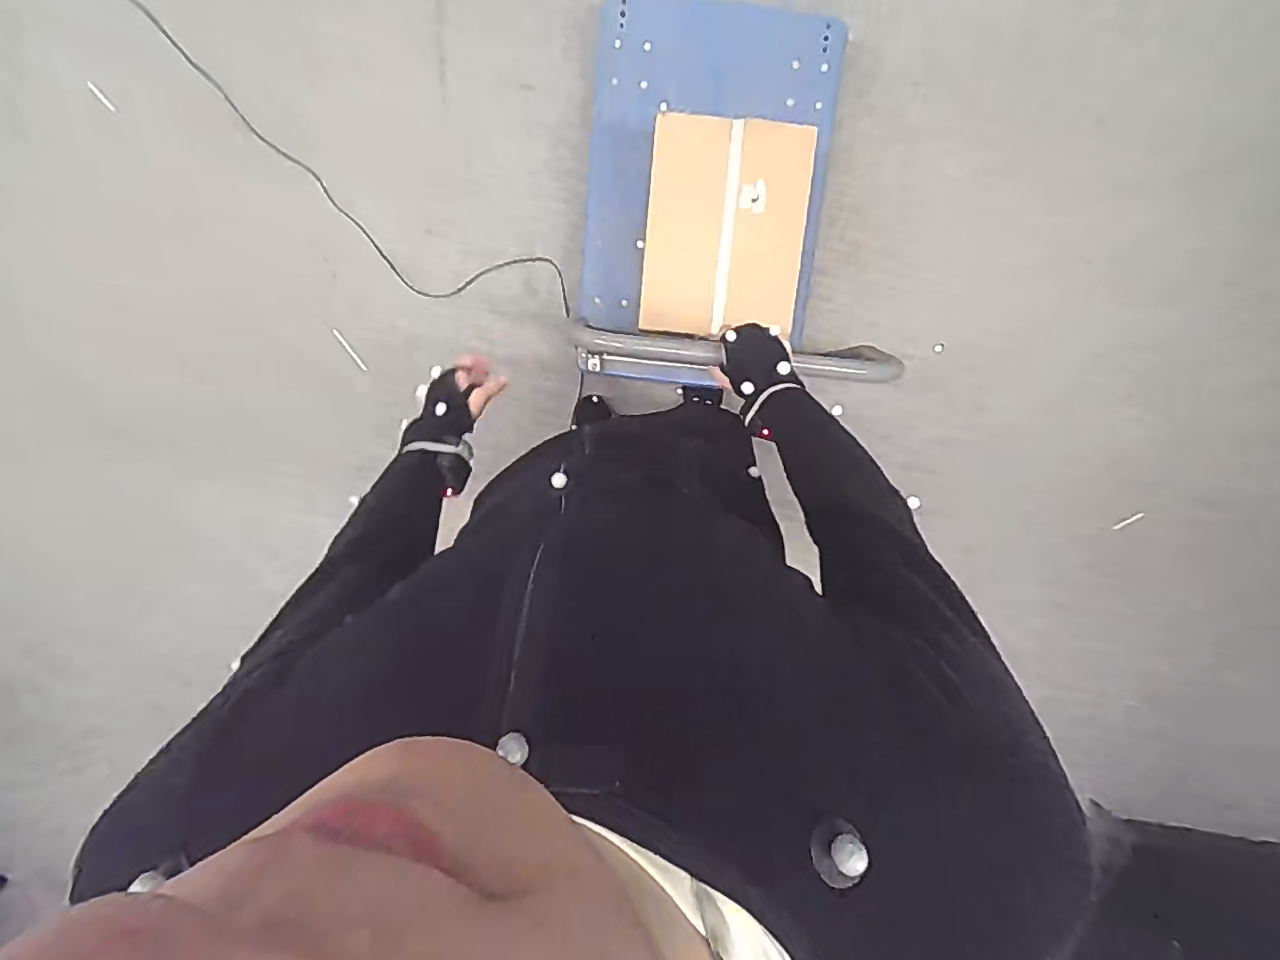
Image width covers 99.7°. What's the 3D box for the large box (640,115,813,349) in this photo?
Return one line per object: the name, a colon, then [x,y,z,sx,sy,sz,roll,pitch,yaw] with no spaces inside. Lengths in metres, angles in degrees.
large box: [0.167,-0.515,1.214,0.320,0.320,0.408,5,100,-2]
